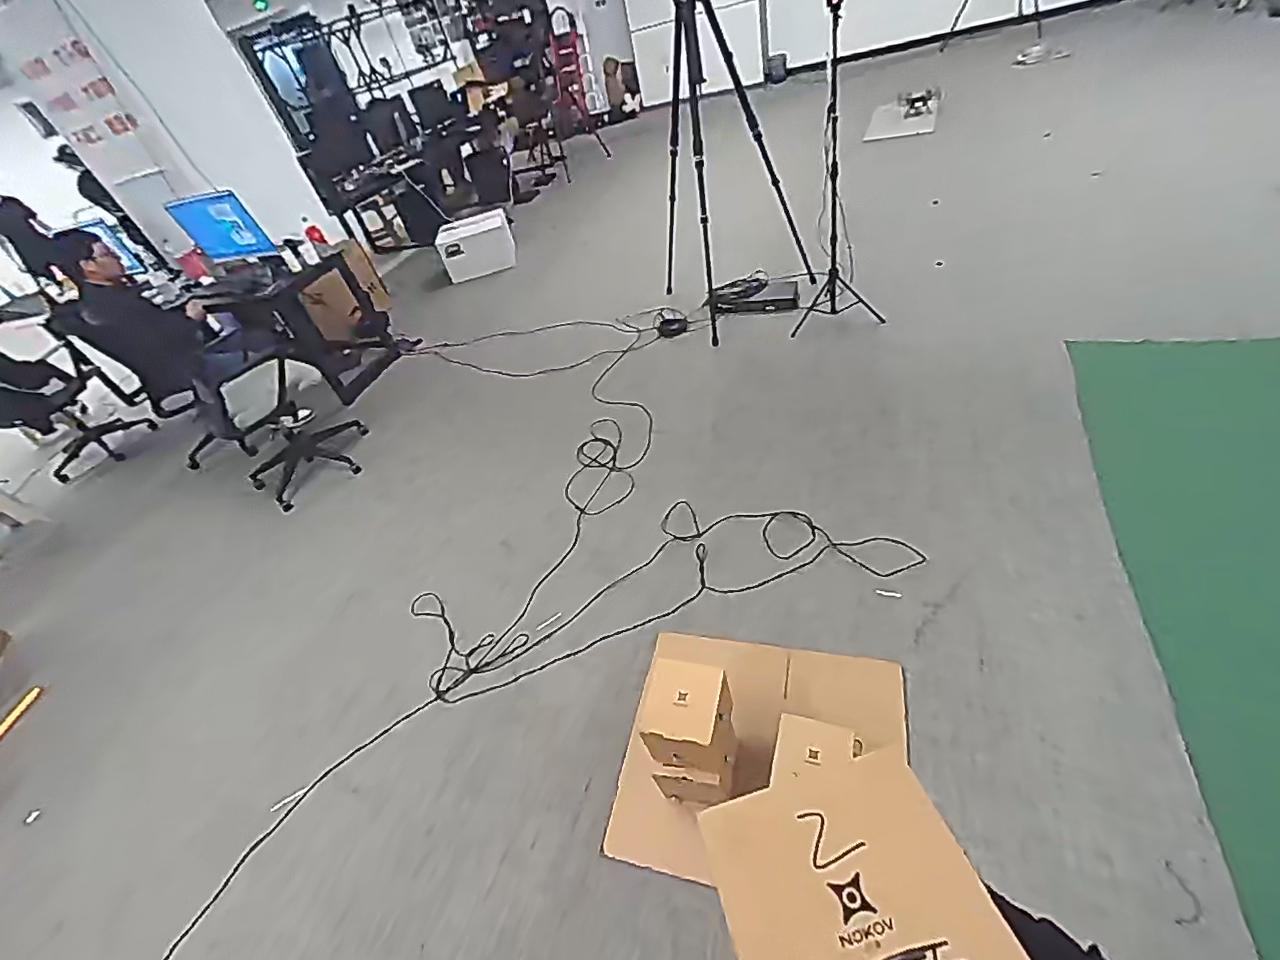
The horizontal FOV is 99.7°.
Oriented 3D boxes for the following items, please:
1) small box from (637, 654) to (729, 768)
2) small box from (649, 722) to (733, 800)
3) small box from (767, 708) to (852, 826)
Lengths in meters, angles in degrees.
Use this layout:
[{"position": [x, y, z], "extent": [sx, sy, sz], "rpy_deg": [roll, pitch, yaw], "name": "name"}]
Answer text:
[{"position": [0.108, 0.537, 1.259], "extent": [0.168, 0.176, 0.179], "rpy_deg": [2, 45, 21], "name": "small box"}, {"position": [0.134, 0.673, 1.350], "extent": [0.168, 0.176, 0.179], "rpy_deg": [0, 44, 19], "name": "small box"}, {"position": [0.400, 0.670, 1.265], "extent": [0.168, 0.176, 0.179], "rpy_deg": [4, 47, 24], "name": "small box"}]
